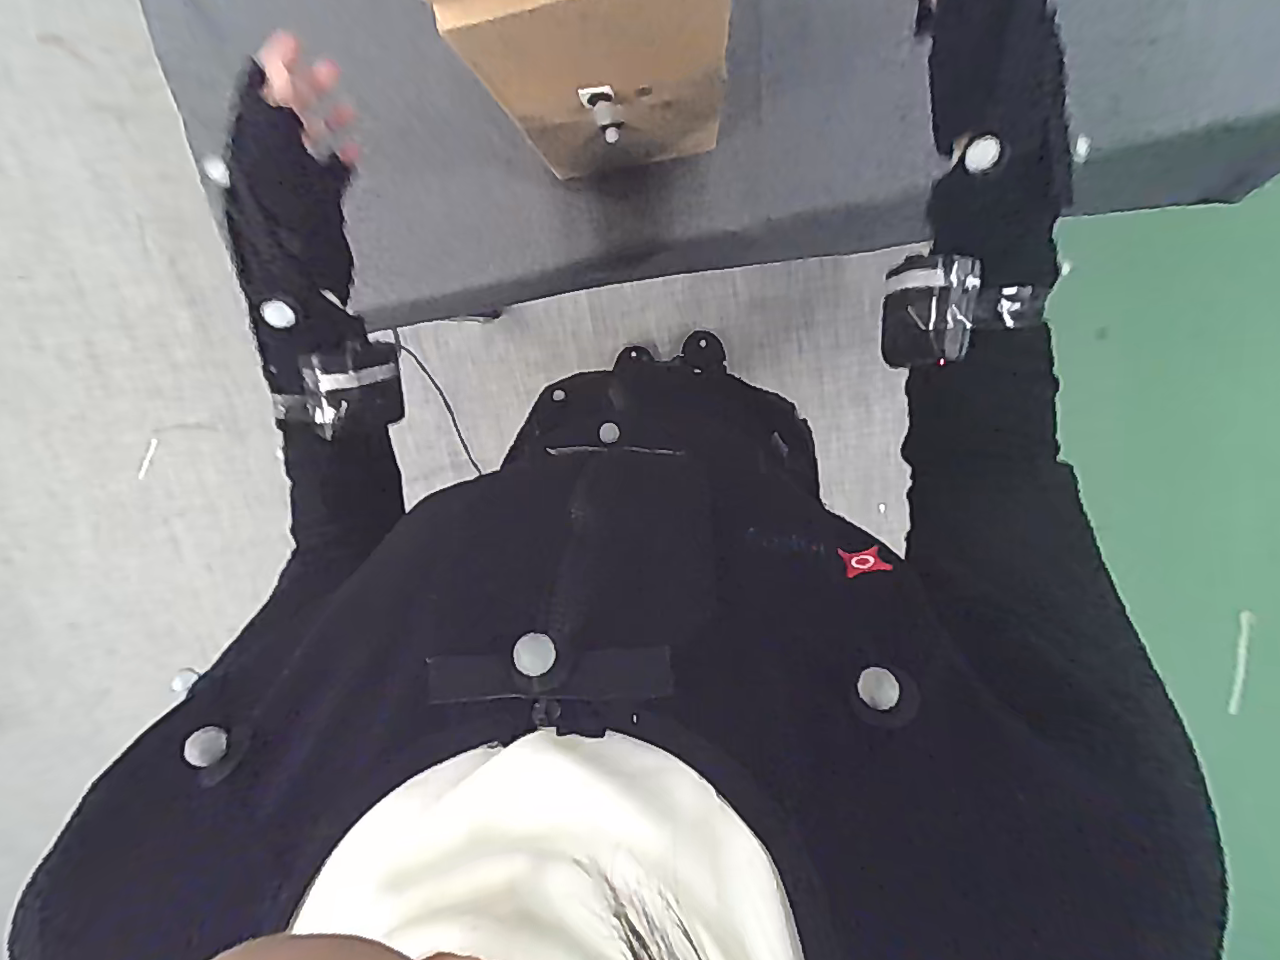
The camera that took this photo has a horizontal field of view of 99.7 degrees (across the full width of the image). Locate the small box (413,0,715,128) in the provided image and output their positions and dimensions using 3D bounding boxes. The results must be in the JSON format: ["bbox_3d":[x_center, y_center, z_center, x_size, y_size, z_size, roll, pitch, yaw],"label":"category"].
[{"bbox_3d":[-0.044,-0.361,0.340,0.168,0.176,0.179,-7,105,8],"label":"small box"}]

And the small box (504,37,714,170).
[{"bbox_3d":[-0.028,-0.406,0.495,0.179,0.176,0.168,-7,105,6],"label":"small box"}]
